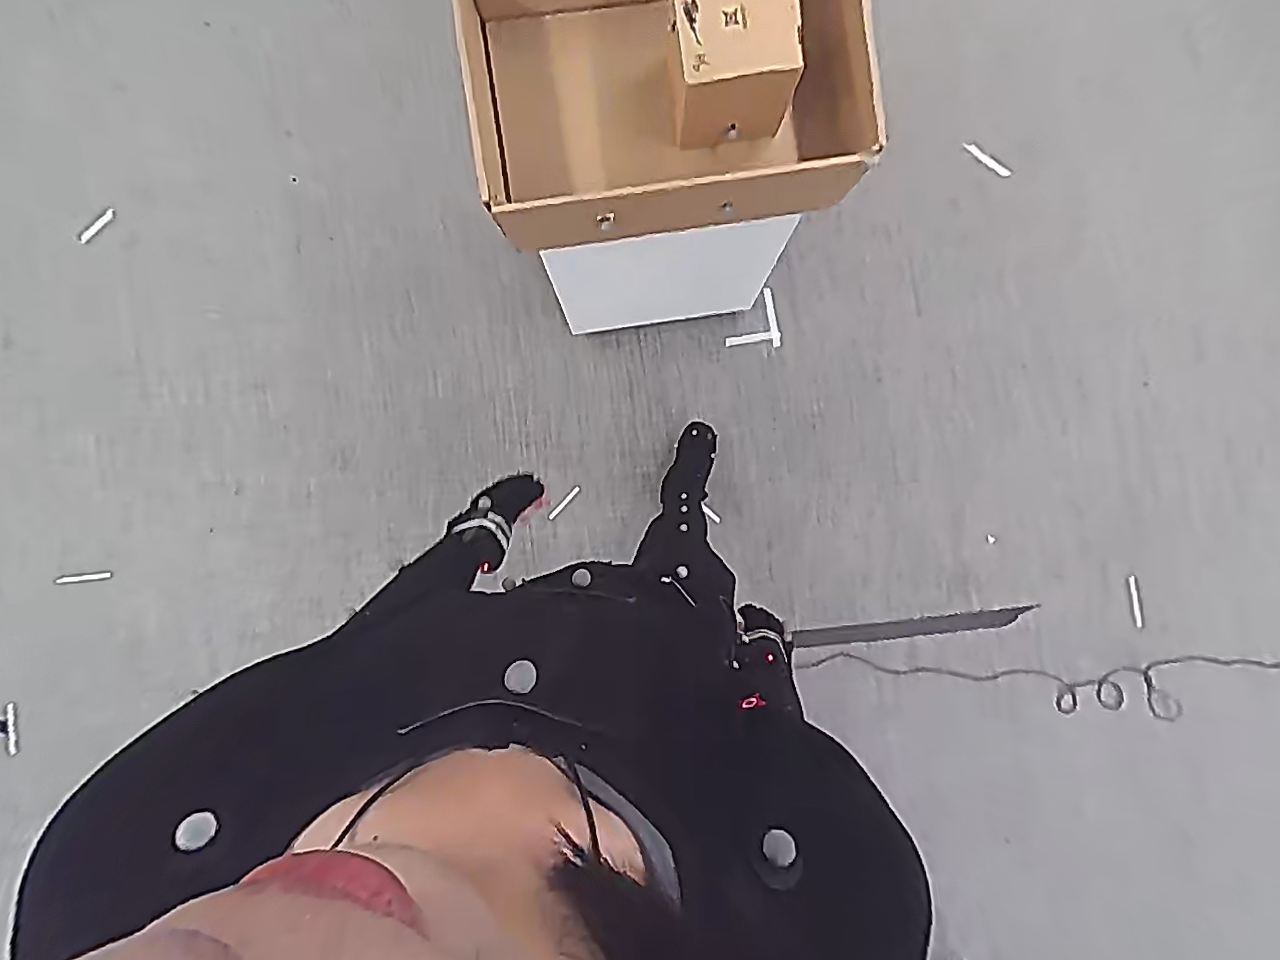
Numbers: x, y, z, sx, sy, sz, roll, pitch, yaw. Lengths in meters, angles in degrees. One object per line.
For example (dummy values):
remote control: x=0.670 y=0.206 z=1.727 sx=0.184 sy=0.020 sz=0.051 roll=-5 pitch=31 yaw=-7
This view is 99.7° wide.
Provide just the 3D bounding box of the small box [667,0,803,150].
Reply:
small box: x=0.142 y=-0.663 z=0.862 sx=0.179 sy=0.176 sz=0.168 roll=-8 pitch=91 yaw=1
